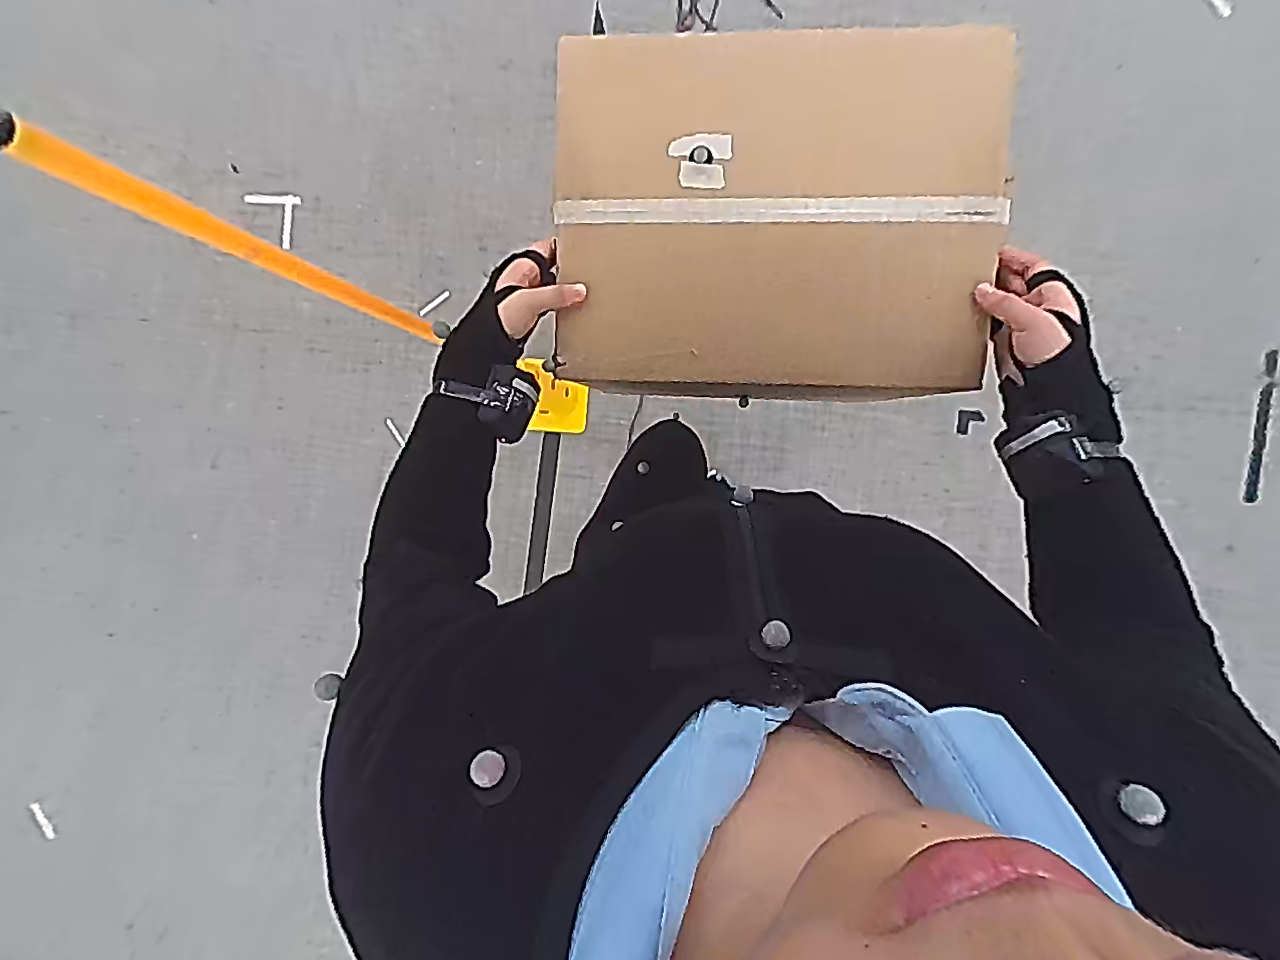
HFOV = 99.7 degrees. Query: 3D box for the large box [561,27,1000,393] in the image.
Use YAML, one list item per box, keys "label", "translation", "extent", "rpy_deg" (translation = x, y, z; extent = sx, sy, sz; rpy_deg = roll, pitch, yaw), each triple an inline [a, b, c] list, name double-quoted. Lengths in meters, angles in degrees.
- label: "large box"
  translation: [0.137, -0.268, 0.659]
  extent: [0.408, 0.320, 0.320]
  rpy_deg: [2, 95, 6]
